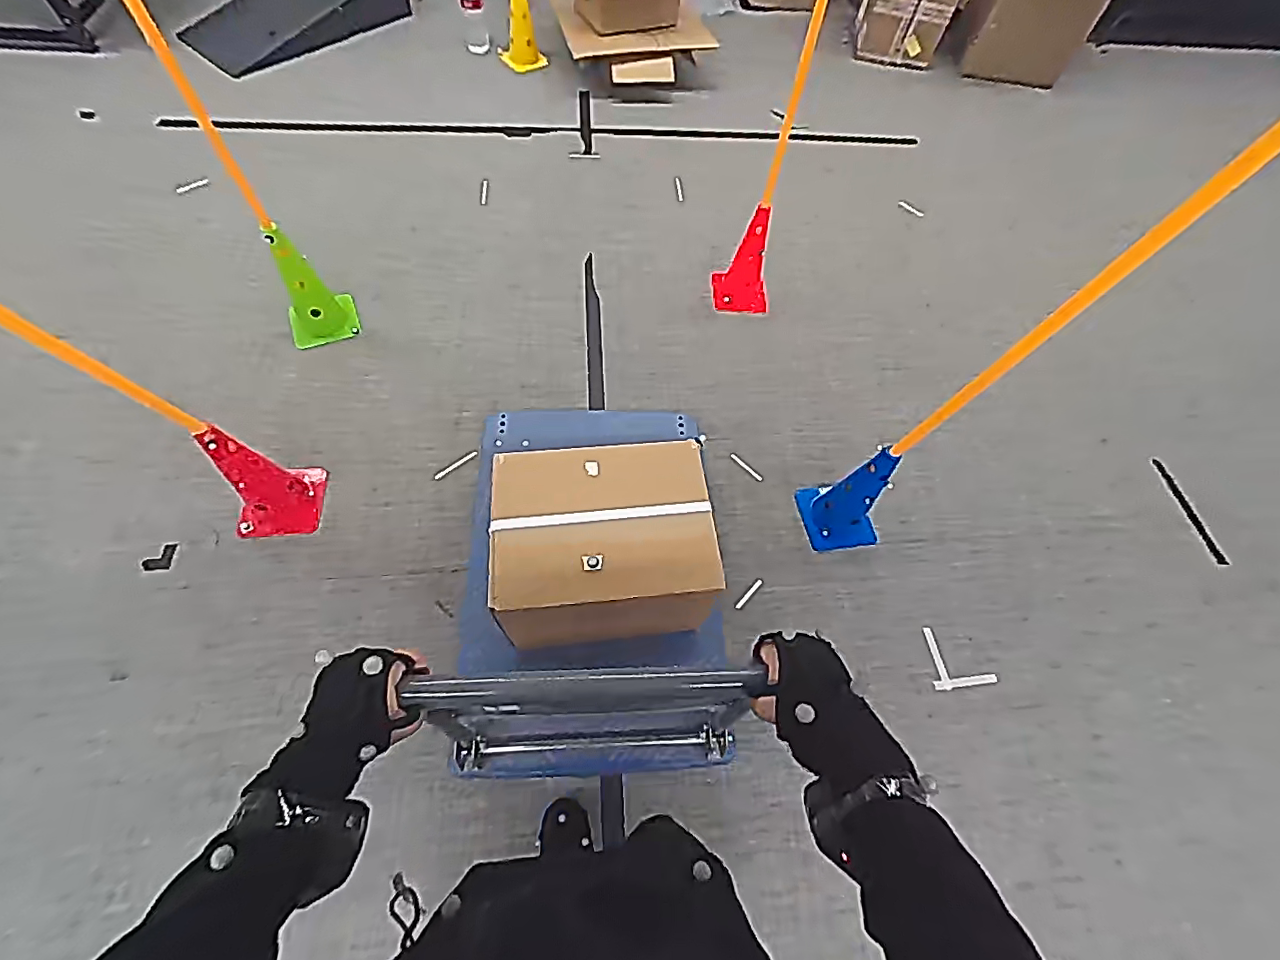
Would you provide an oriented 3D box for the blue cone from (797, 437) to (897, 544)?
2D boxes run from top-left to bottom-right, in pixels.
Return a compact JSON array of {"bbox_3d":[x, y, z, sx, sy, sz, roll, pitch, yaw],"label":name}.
[{"bbox_3d":[0.584,0.014,1.439,0.193,0.380,0.192,-6,61,-8],"label":"blue cone"}]

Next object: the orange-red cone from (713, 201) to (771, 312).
[{"bbox_3d":[0.380,-0.778,1.841,0.199,0.360,0.198,4,62,-4],"label":"orange-red cone"}]
